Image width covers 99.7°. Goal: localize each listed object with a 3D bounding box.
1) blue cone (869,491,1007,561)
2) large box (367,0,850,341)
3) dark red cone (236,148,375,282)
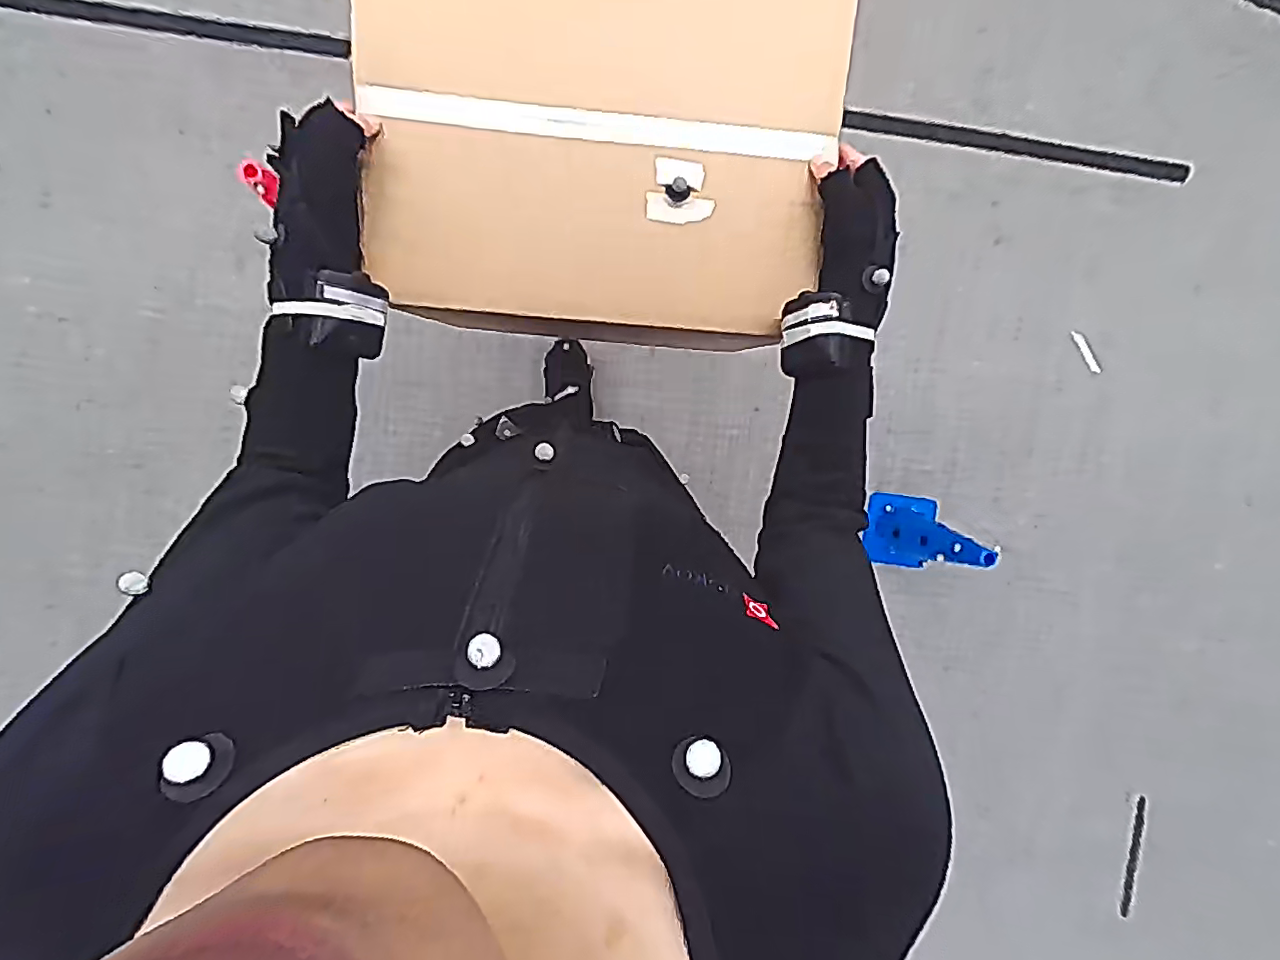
[{"bbox_3d":[0.760,0.143,1.363,0.192,0.380,0.193,9,94,-6],"label":"blue cone"},{"bbox_3d":[-0.038,-0.334,0.607,0.408,0.320,0.320,3,101,-5],"label":"large box"},{"bbox_3d":[-0.728,-0.590,1.165,0.201,0.394,0.202,12,94,-6],"label":"dark red cone"}]
